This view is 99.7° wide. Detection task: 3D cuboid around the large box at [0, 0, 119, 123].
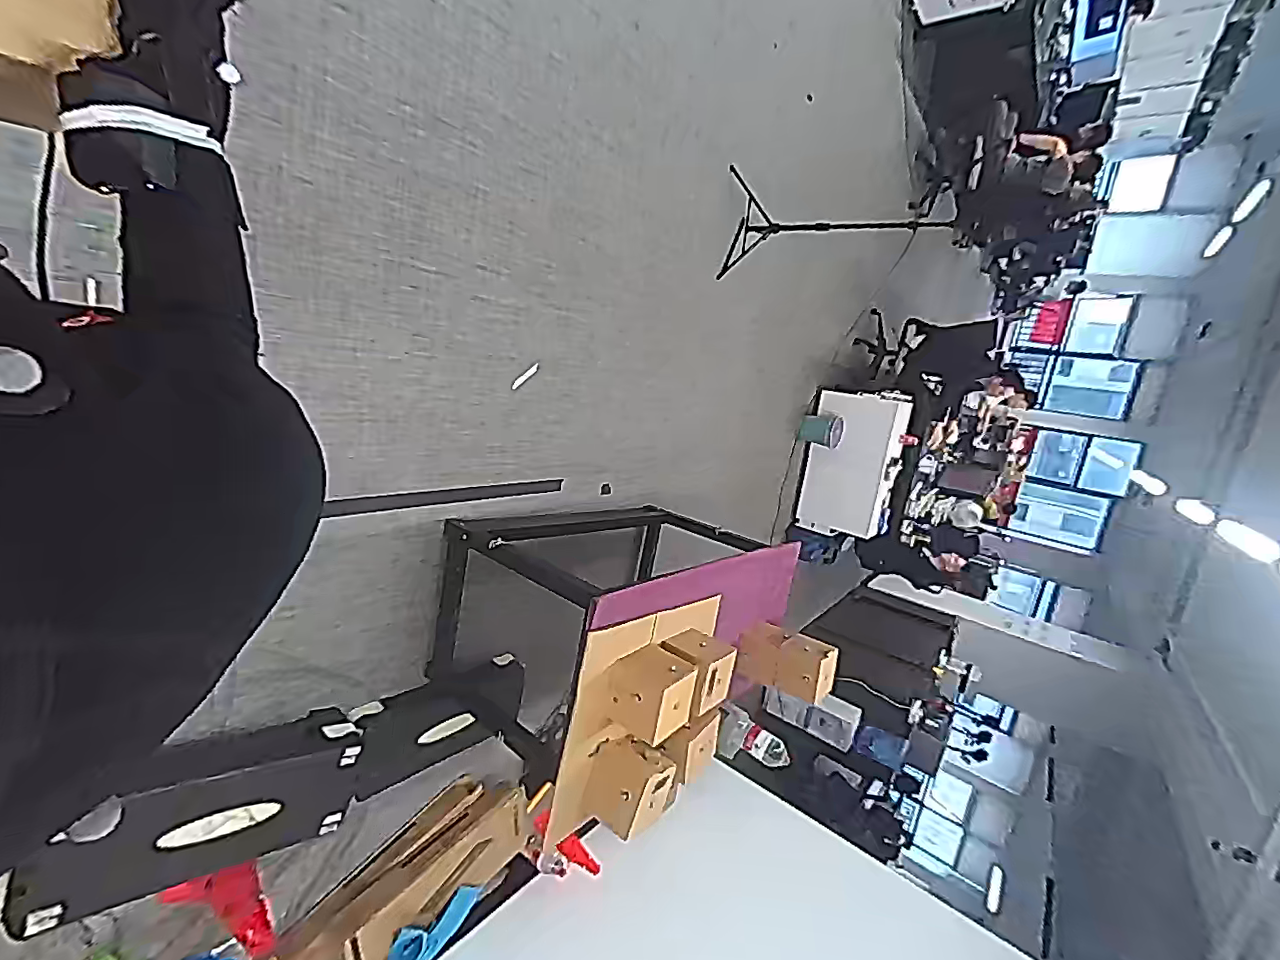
[{"bbox_3d":[-0.581,-0.432,0.265,0.408,0.320,0.320,-12,116,-52],"label":"large box"}]
